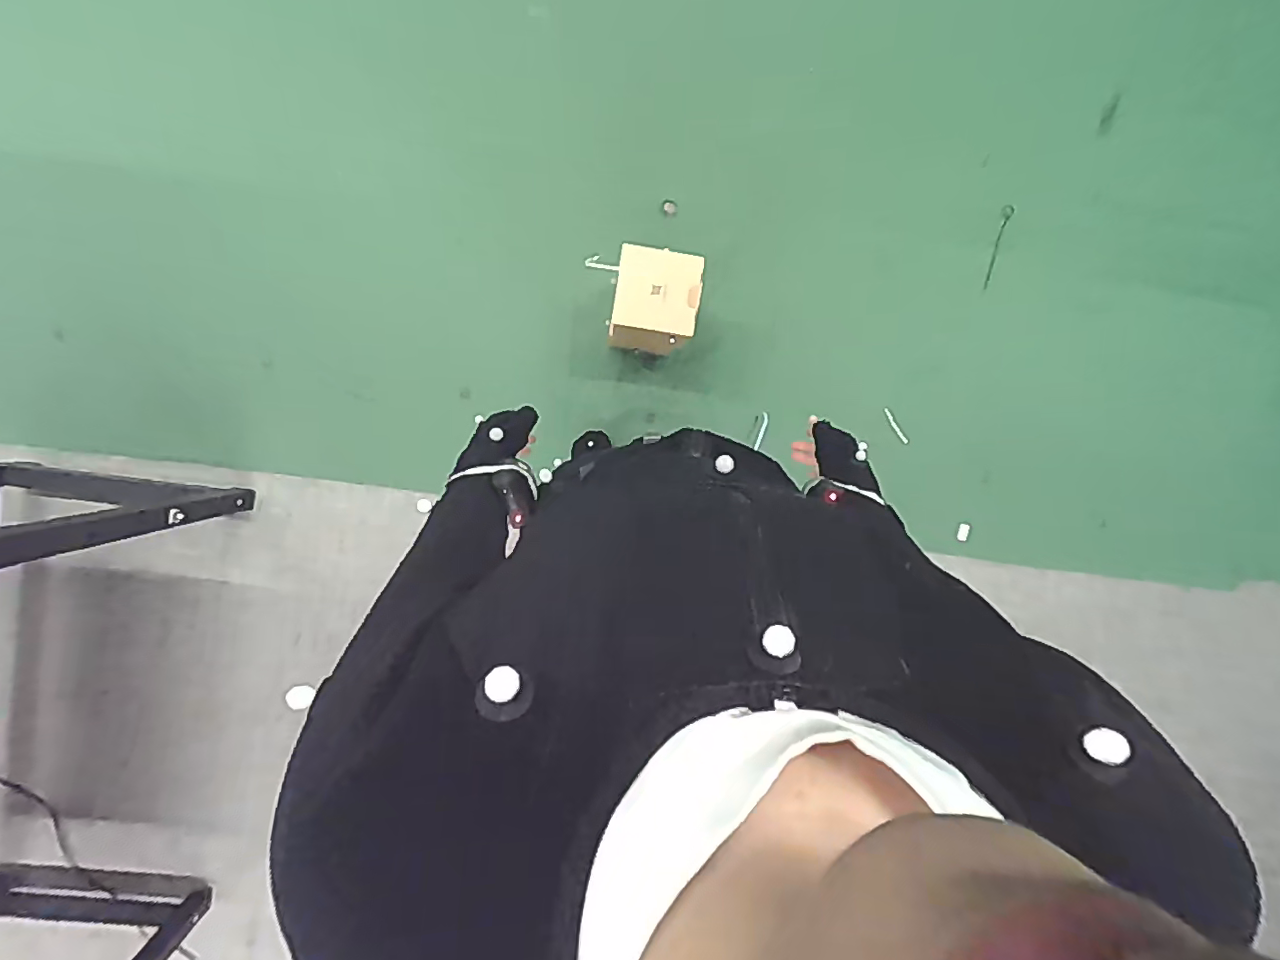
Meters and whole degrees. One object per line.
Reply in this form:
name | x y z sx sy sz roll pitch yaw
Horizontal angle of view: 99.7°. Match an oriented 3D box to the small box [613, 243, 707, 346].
small box | 0.036 -0.400 1.194 0.179 0.176 0.168 8 95 -5
